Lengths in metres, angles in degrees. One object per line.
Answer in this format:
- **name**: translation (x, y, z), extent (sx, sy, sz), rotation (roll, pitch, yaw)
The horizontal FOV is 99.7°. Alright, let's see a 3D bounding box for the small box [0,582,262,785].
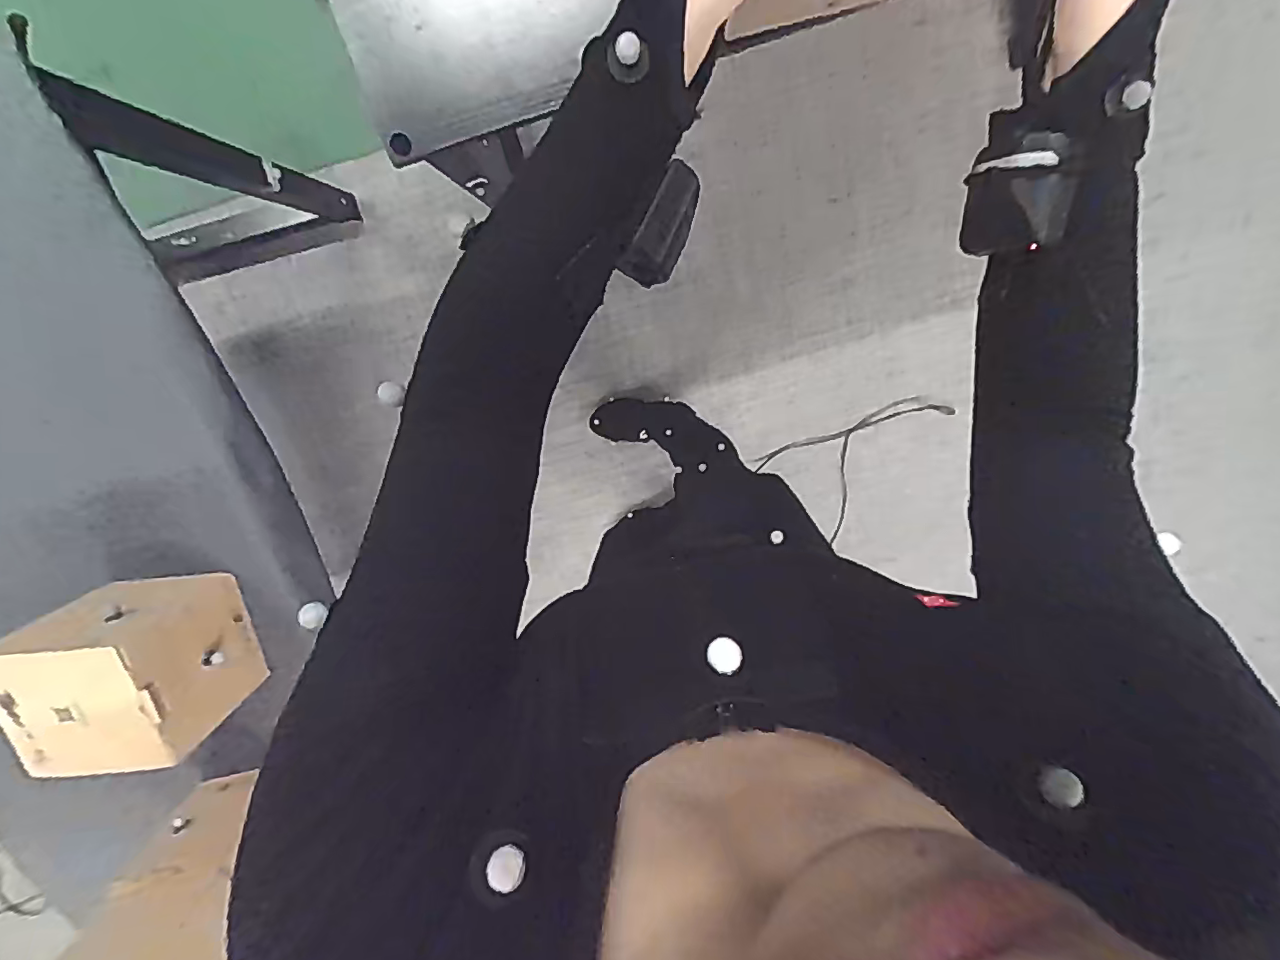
- **small box**: translation (-0.610, 0.238, 0.666), extent (0.179, 0.176, 0.168), rotation (-6, 107, 2)

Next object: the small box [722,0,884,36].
- **small box**: translation (0.153, -0.515, 0.451), extent (0.168, 0.176, 0.179), rotation (-13, 107, 2)
